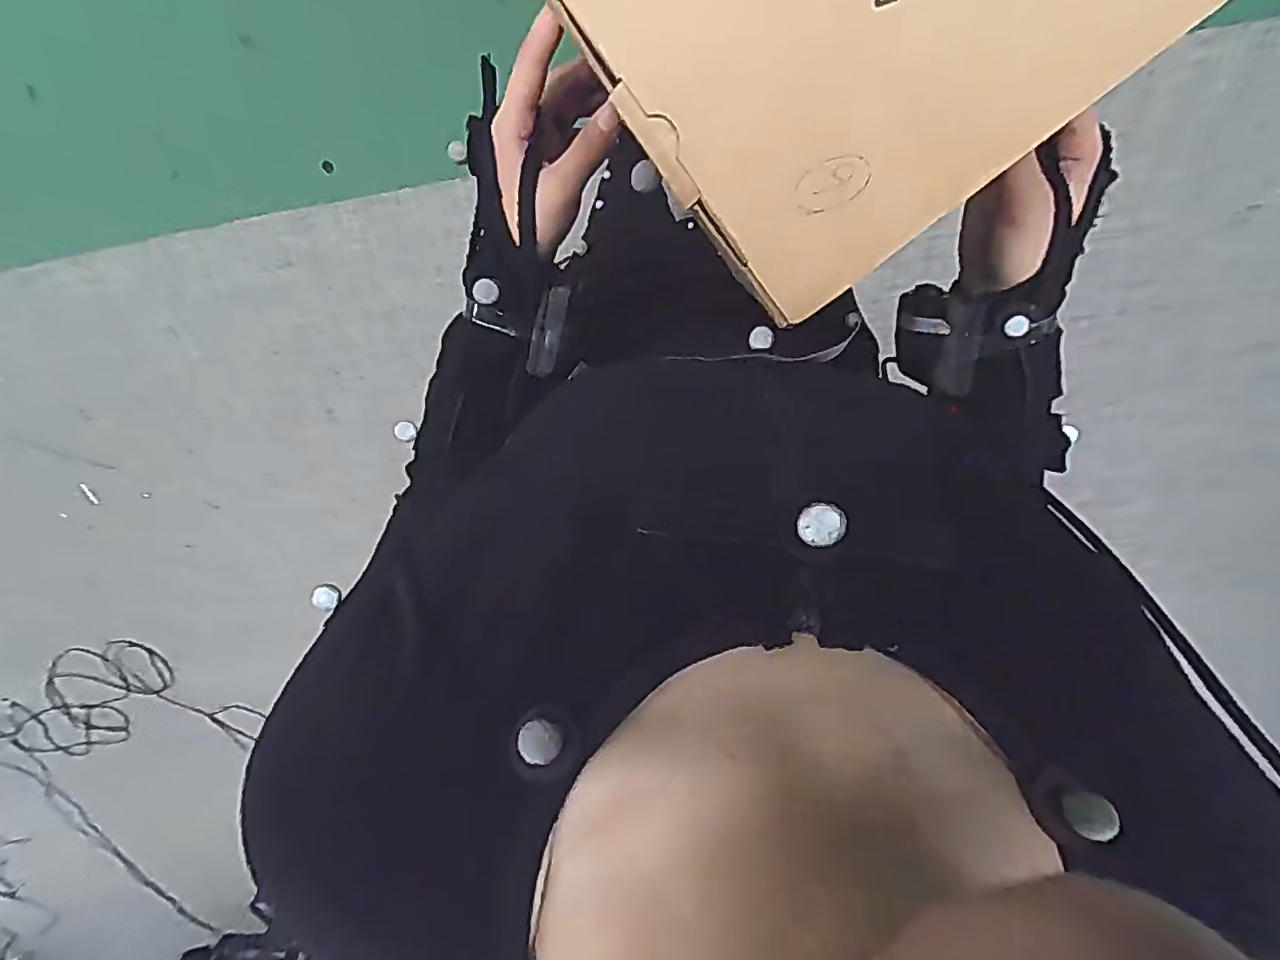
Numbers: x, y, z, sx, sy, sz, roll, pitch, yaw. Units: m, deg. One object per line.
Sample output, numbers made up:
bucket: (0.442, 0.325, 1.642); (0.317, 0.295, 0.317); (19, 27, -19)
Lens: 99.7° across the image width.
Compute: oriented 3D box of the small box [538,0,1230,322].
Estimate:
small box: (0.077, -0.199, 0.232); (0.179, 0.176, 0.168); (-35, 108, 20)
